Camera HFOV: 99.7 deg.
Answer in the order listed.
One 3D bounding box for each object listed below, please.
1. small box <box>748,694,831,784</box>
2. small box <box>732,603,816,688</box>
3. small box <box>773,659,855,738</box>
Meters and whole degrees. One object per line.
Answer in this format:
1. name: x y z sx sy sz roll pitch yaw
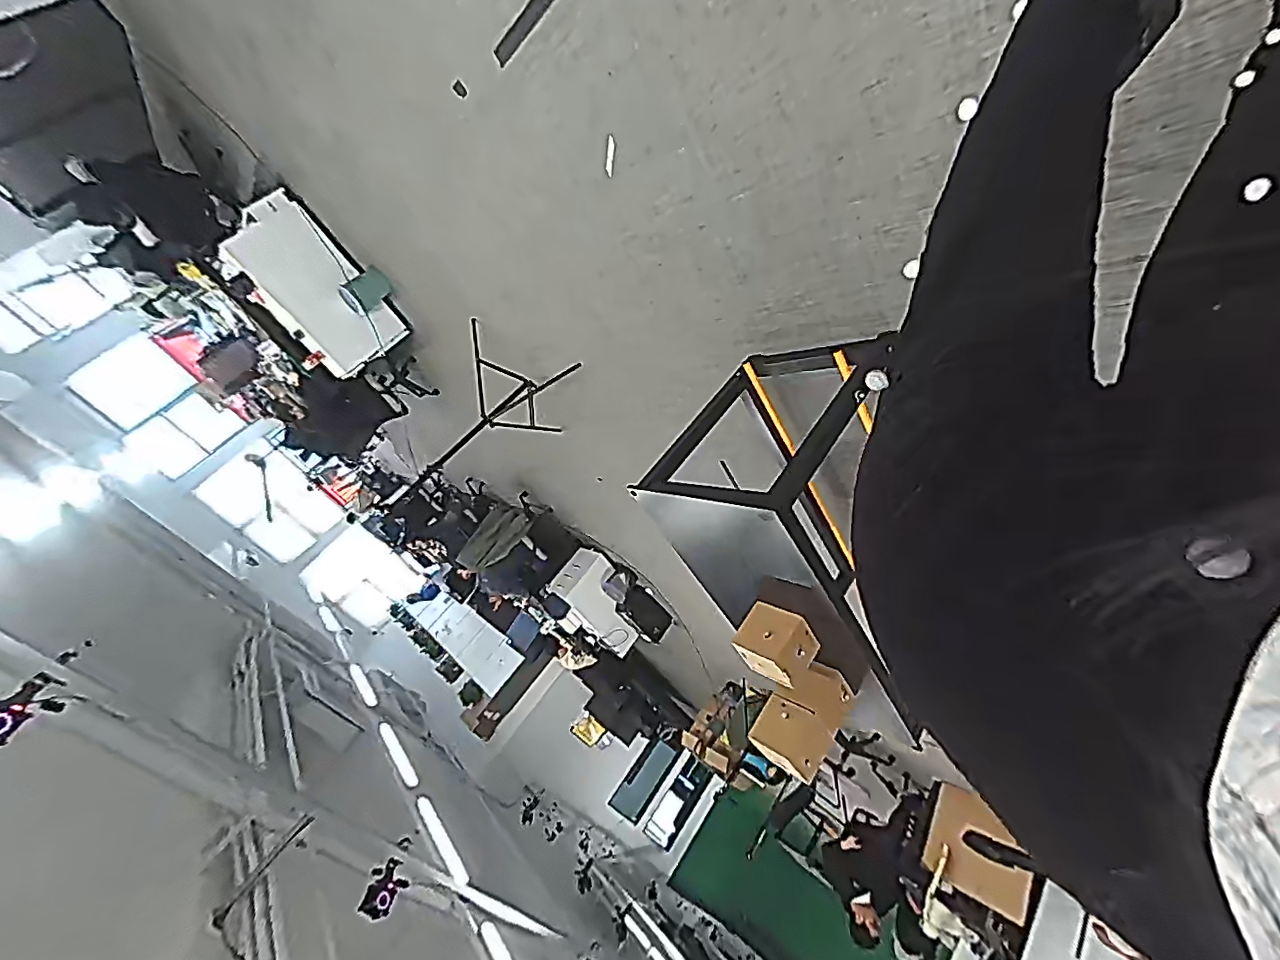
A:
1. small box: 0.491 0.838 1.761 0.168 0.176 0.179 7 140 54
2. small box: 0.427 0.511 1.692 0.179 0.176 0.168 9 142 51
3. small box: 0.590 0.723 1.826 0.179 0.176 0.168 6 141 52
